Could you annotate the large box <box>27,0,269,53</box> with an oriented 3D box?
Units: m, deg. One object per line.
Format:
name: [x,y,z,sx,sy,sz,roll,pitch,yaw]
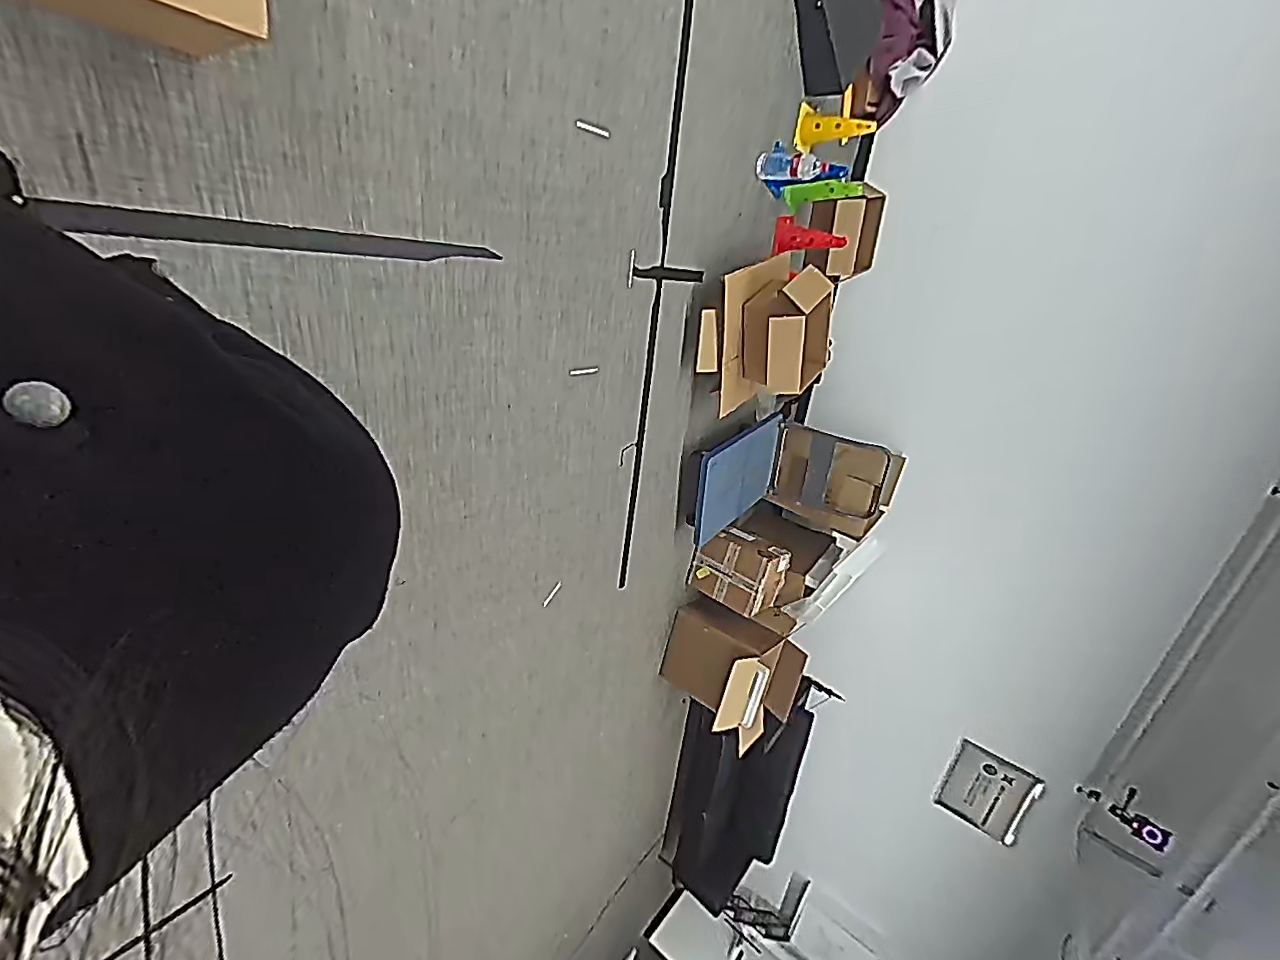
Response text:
large box: [-0.809,-0.850,0.734,0.408,0.320,0.320,-19,125,-50]
